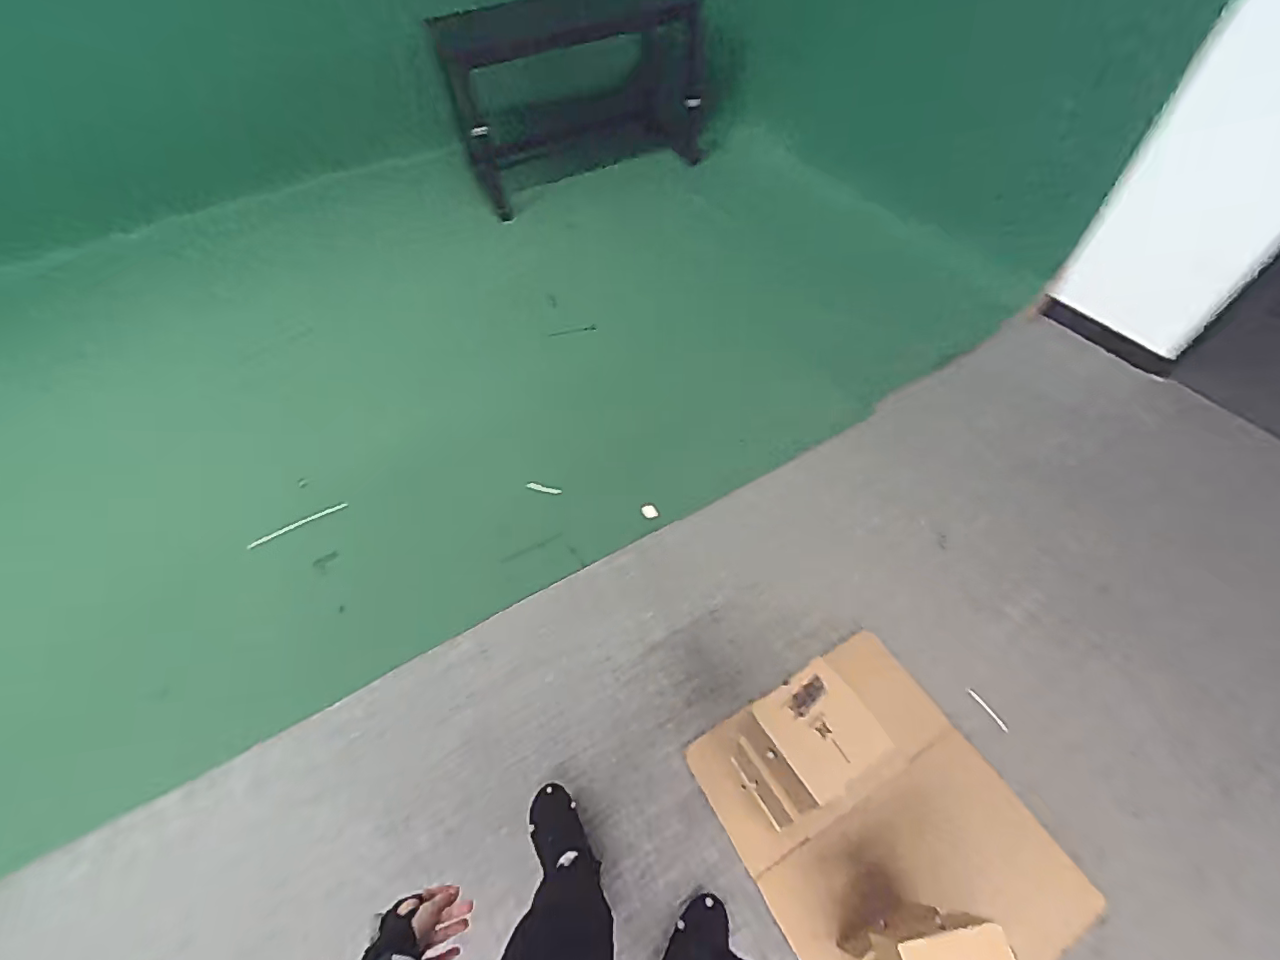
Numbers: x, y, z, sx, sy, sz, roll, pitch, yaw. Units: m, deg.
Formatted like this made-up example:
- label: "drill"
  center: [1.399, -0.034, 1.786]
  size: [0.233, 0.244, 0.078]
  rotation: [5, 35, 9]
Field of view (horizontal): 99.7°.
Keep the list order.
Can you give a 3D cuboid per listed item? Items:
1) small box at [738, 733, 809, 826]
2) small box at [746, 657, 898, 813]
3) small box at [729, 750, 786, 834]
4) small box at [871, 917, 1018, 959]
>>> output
- label: "small box"
  center: [0.309, 0.559, 1.077]
  size: [0.179, 0.176, 0.168]
  rotation: [-27, 58, -16]
- label: "small box"
  center: [0.305, 0.452, 0.952]
  size: [0.168, 0.176, 0.179]
  rotation: [-28, 58, -16]
- label: "small box"
  center: [0.313, 0.660, 1.208]
  size: [0.179, 0.176, 0.168]
  rotation: [-27, 57, -16]
- label: "small box"
  center: [0.505, 0.826, 0.869]
  size: [0.179, 0.176, 0.168]
  rotation: [-9, 55, -3]
